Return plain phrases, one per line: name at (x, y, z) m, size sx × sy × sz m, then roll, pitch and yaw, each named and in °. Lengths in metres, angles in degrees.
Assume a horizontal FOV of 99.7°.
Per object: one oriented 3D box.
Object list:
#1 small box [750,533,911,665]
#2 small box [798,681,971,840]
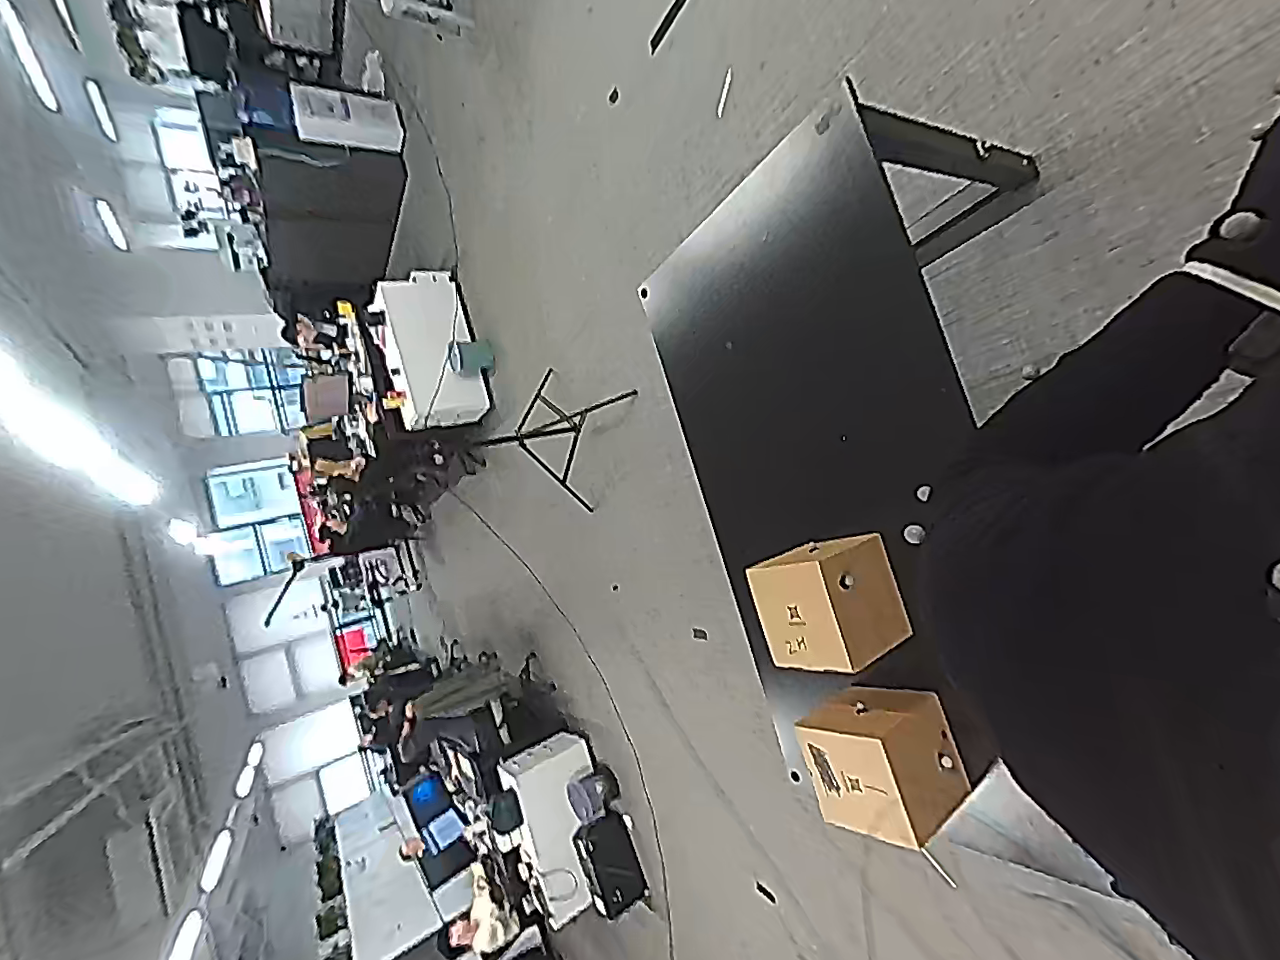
small box at (0.324, 0.196, 0.924) m, size 0.168 × 0.176 × 0.179 m, roll -25°, pitch 81°, yaw 57°
small box at (0.405, 0.450, 0.903) m, size 0.179 × 0.176 × 0.168 m, roll -27°, pitch 79°, yaw 55°
